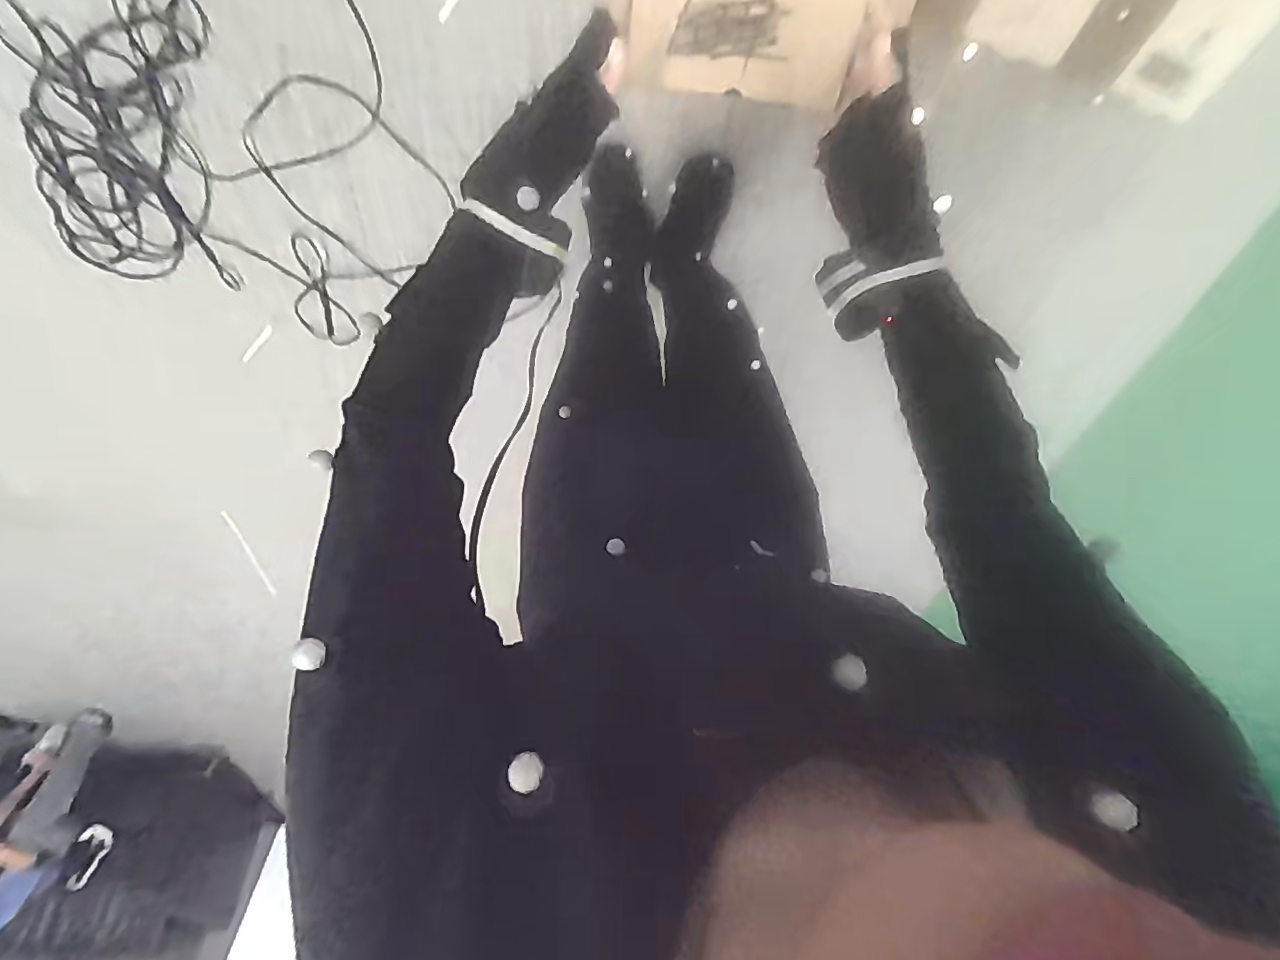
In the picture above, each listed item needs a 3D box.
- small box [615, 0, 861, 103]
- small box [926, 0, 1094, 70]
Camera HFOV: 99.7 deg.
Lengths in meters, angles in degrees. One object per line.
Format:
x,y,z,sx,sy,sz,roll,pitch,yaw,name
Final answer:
0.070,-0.409,0.402,0.168,0.176,0.179,1,133,-7,small box
0.573,-0.761,0.816,0.168,0.176,0.179,12,133,-11,small box
